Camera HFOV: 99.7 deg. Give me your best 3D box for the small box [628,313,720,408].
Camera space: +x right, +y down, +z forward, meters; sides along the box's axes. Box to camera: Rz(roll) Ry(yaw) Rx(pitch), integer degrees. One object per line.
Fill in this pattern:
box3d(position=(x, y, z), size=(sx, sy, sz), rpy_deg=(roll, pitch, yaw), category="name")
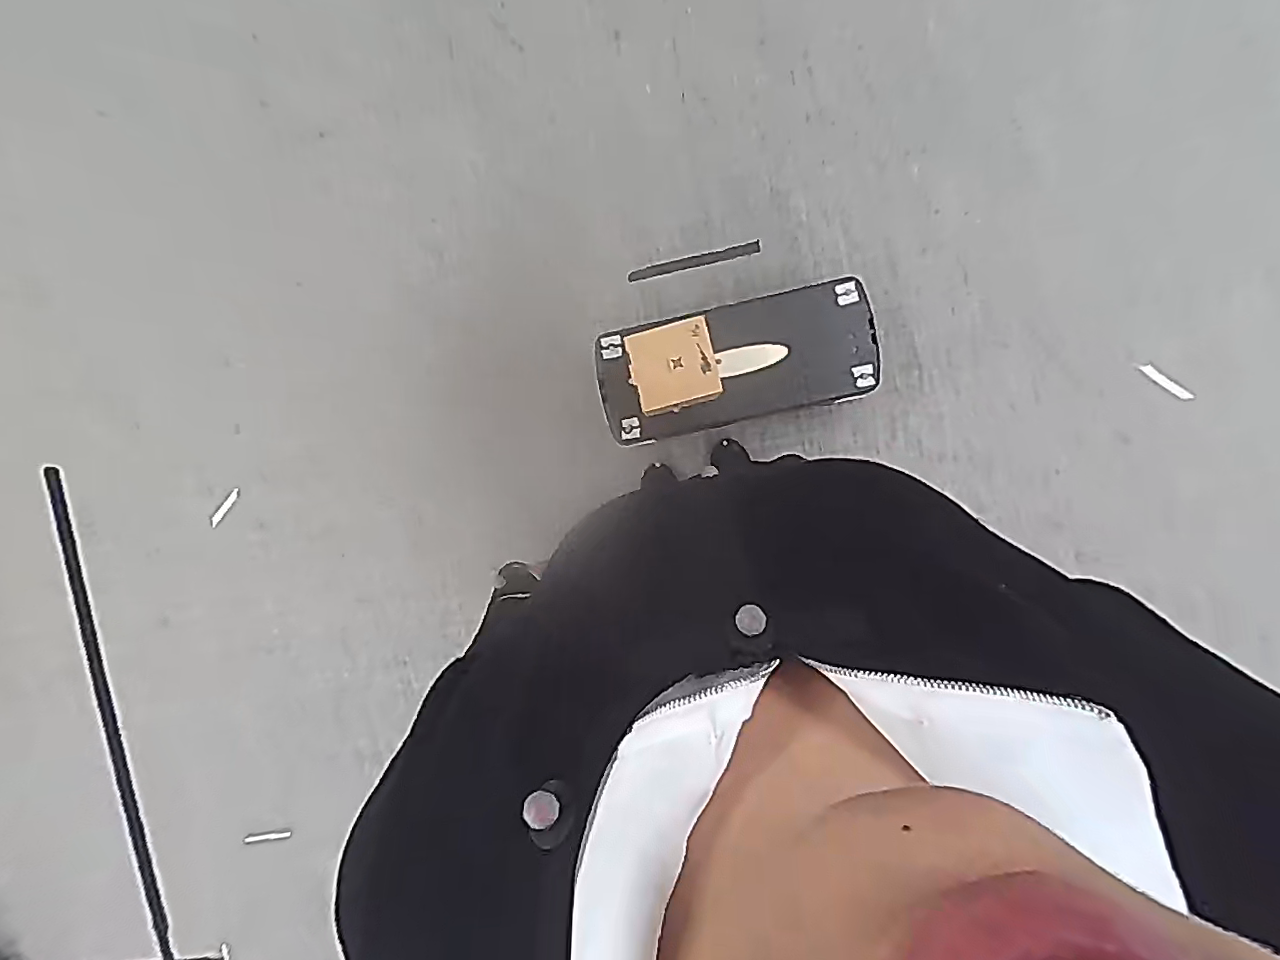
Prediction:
box3d(position=(0.074, -0.254, 1.217), size=(0.179, 0.176, 0.168), rpy_deg=(-14, 93, 5), category="small box")
